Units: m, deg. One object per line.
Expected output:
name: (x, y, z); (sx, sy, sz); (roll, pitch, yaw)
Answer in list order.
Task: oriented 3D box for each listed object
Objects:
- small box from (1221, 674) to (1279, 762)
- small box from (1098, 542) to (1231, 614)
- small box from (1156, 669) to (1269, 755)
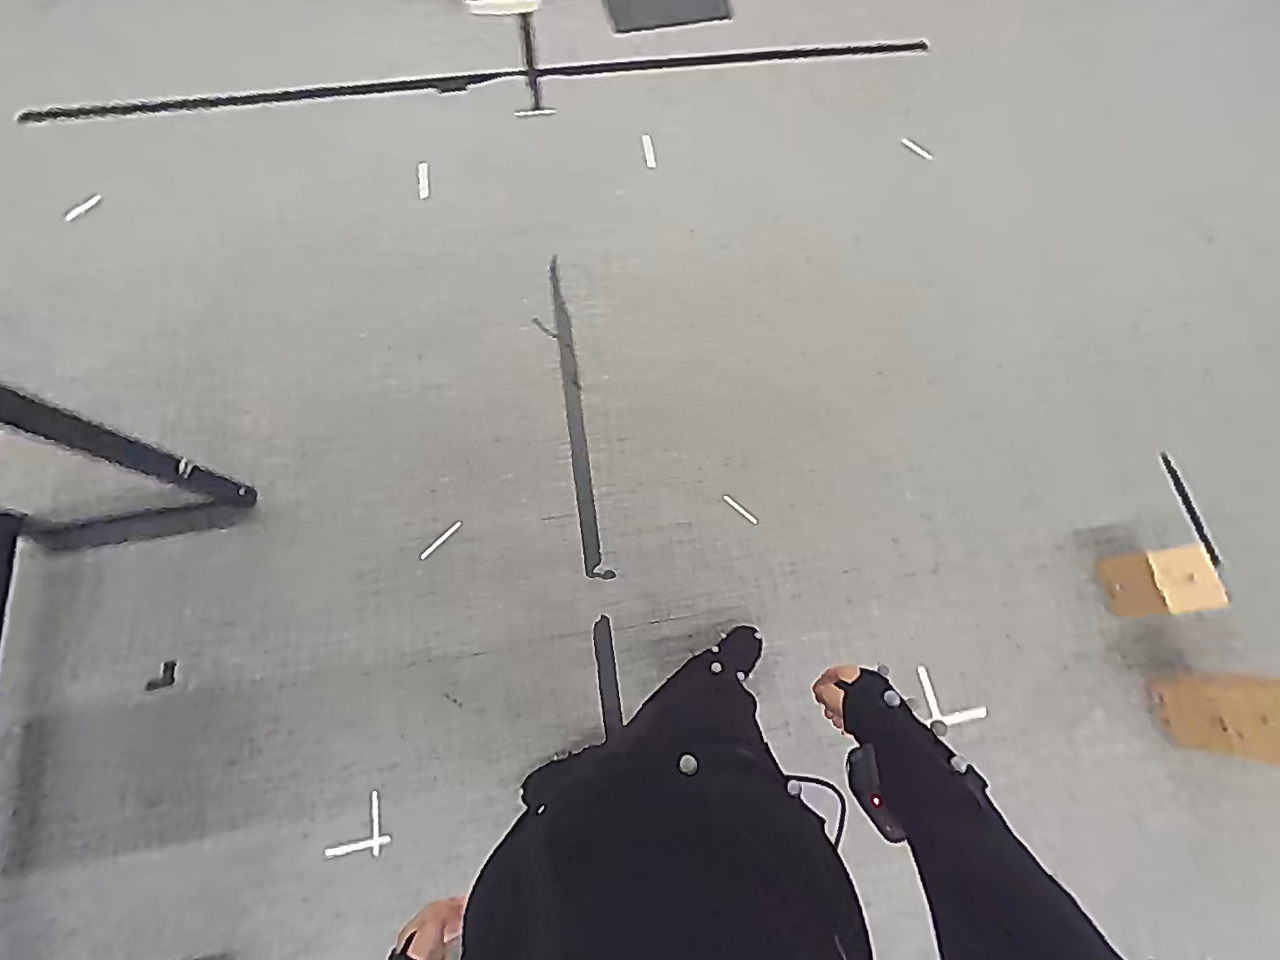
small box: (1.519, 0.551, 1.249); (0.179, 0.176, 0.168); (-10, 74, -7)
small box: (1.441, 0.274, 1.496); (0.179, 0.176, 0.168); (-8, 74, -5)
small box: (1.509, 0.595, 1.405); (0.179, 0.176, 0.168); (-11, 74, -7)
